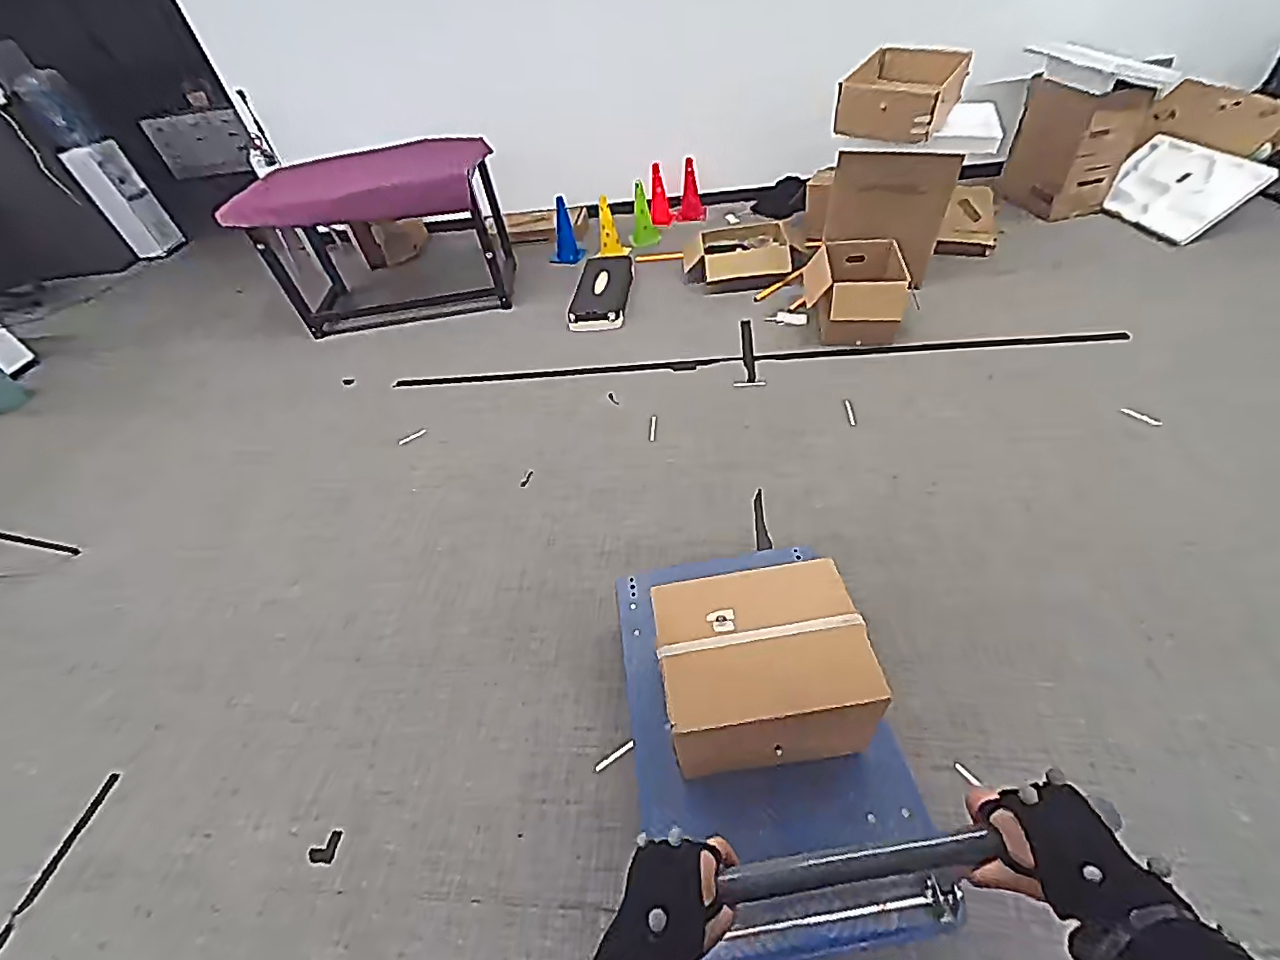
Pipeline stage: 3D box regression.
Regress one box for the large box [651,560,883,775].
[{"bbox_3d":[0.259,0.422,1.206,0.408,0.320,0.320,-11,46,1],"label":"large box"}]
